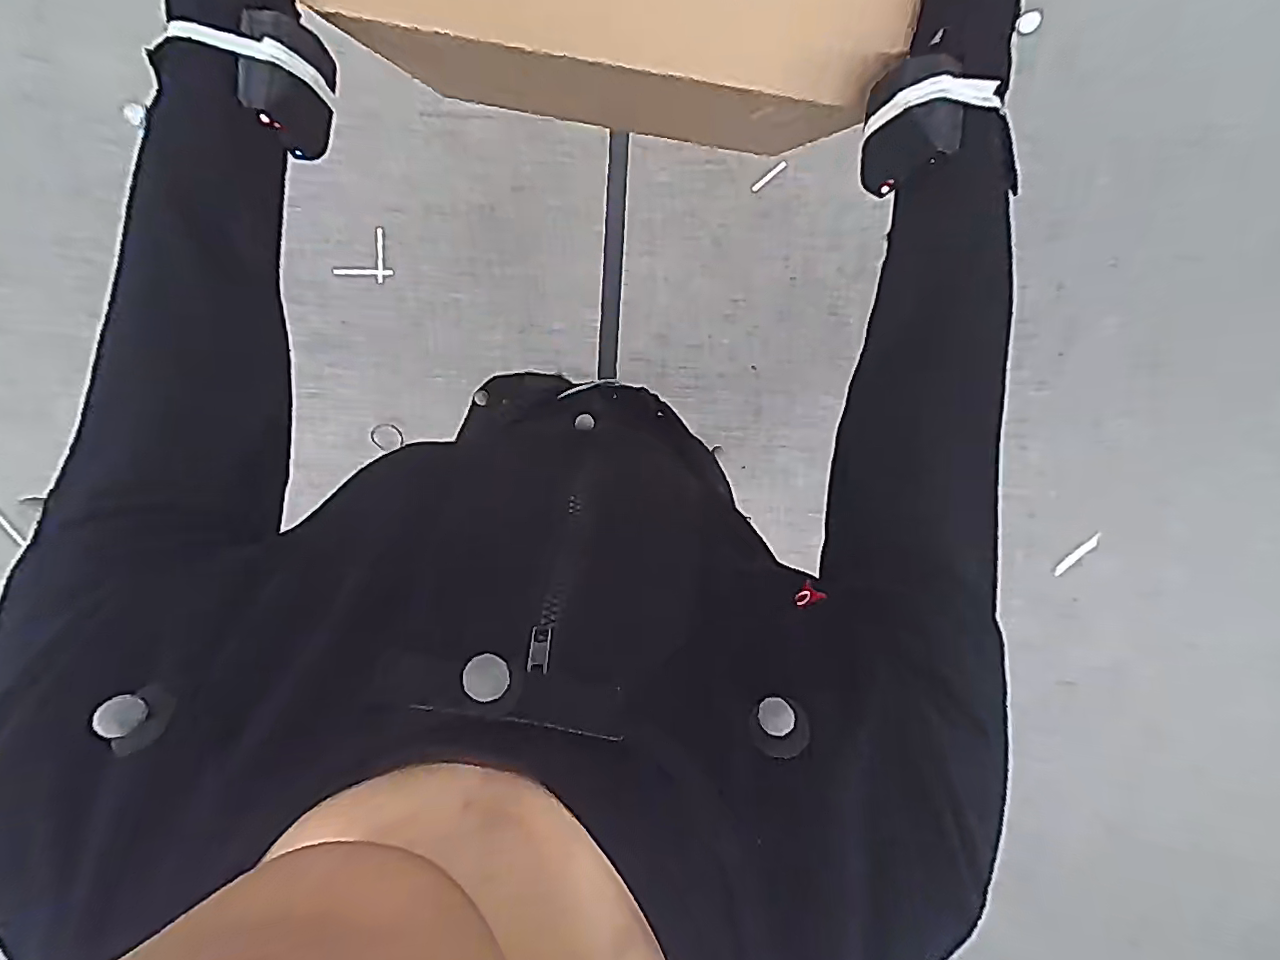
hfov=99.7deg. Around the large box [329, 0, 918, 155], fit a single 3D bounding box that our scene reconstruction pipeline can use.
[{"bbox_3d":[-0.002,-0.489,0.449,0.408,0.320,0.320,6,117,-6],"label":"large box"}]
